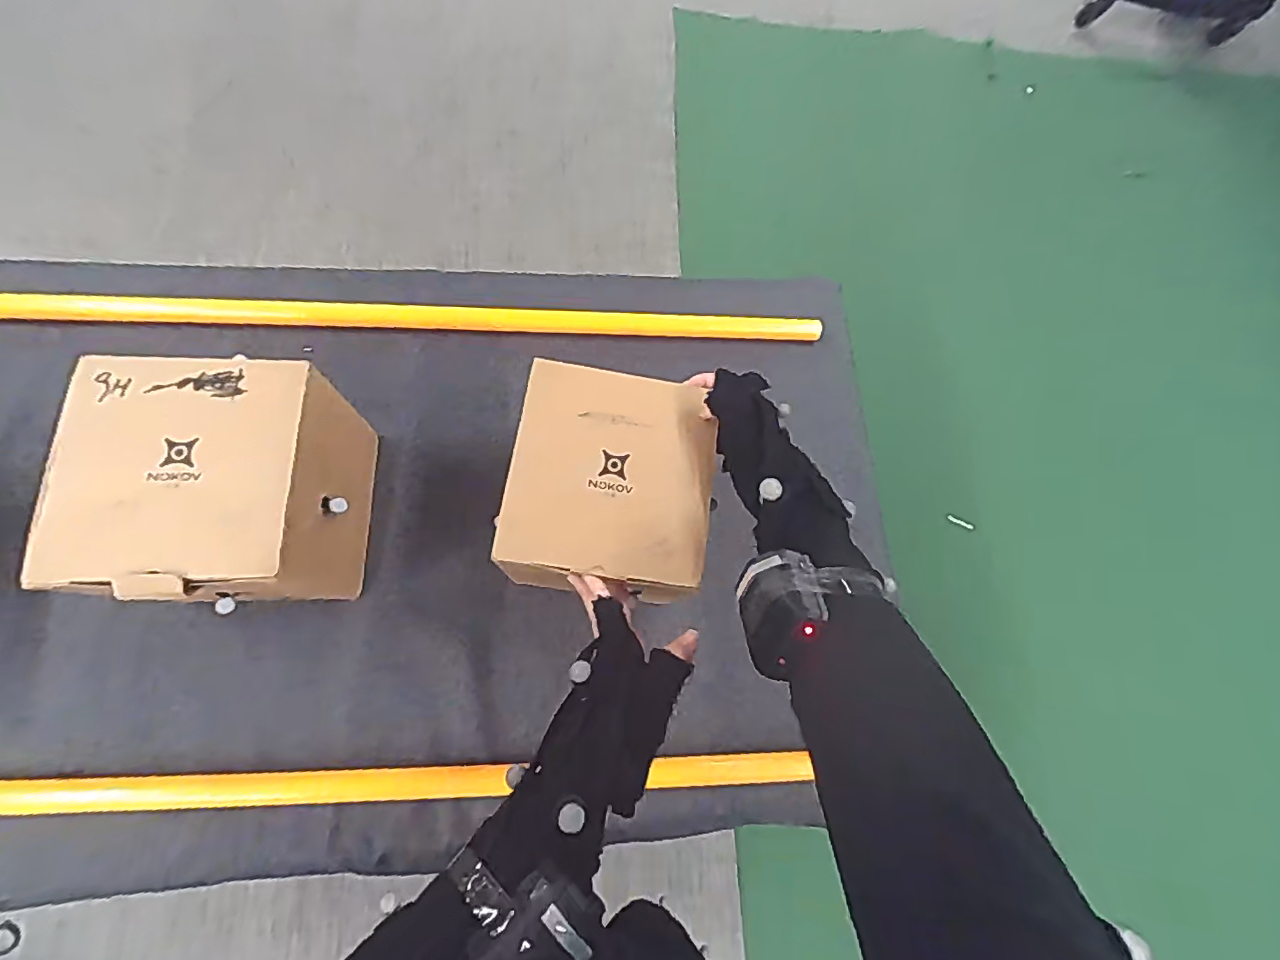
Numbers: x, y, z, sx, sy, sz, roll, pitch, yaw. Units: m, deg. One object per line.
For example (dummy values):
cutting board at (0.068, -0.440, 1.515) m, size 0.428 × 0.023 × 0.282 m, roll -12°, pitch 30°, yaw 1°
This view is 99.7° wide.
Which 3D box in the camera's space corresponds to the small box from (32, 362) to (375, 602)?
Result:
small box at (-0.352, 0.014, 0.479) m, size 0.168 × 0.176 × 0.179 m, roll -3°, pitch 74°, yaw -7°
